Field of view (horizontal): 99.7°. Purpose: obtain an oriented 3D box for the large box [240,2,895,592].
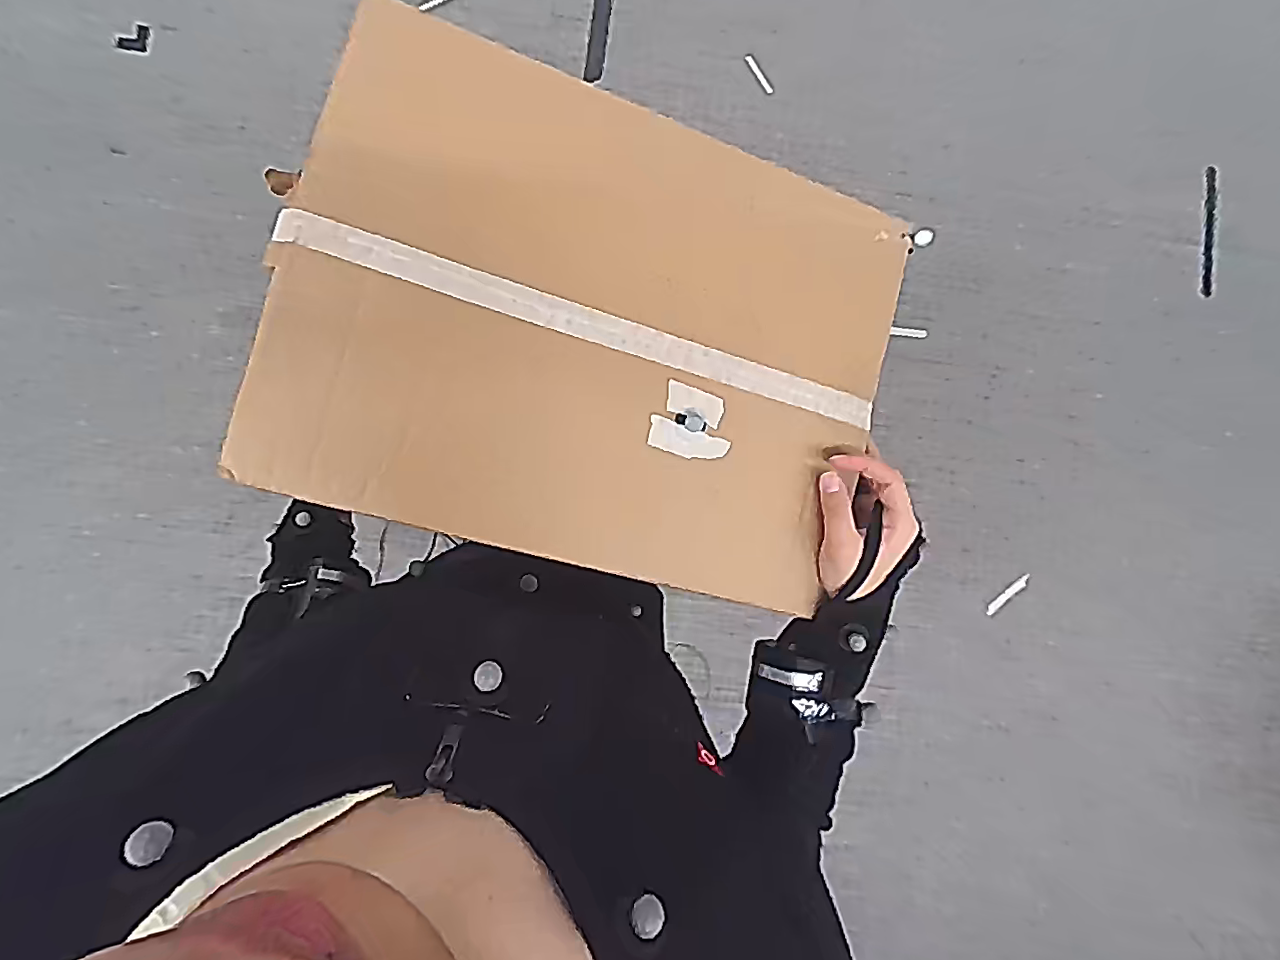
[{"bbox_3d":[-0.055,-0.107,0.516,0.408,0.320,0.320,15,88,-14],"label":"large box"}]
